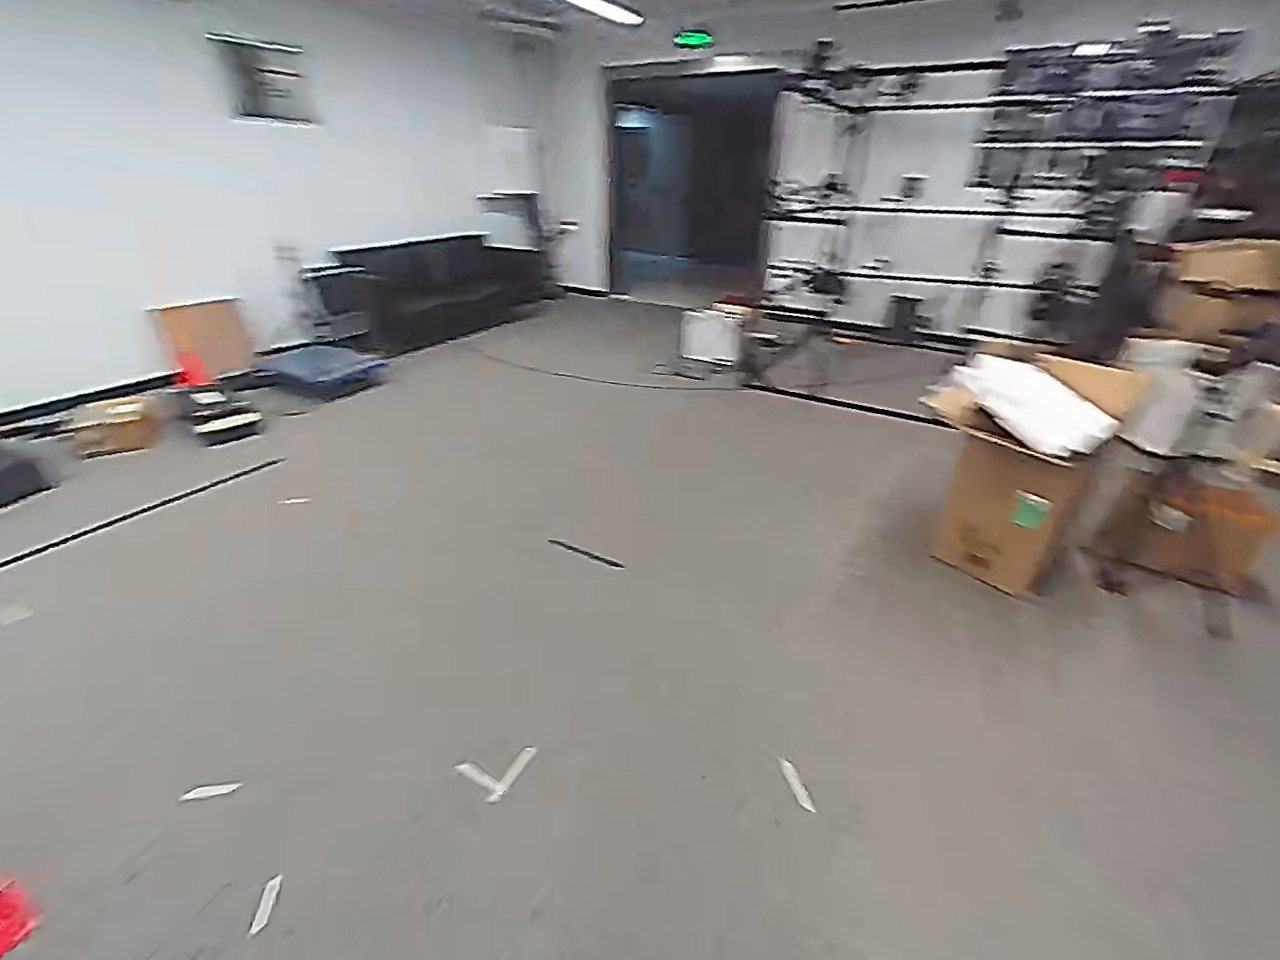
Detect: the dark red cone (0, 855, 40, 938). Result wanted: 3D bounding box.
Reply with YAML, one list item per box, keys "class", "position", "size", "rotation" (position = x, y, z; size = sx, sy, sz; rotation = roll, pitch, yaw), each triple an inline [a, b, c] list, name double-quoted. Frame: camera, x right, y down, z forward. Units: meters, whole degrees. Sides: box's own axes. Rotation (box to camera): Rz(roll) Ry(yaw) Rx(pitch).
- class: "dark red cone"
  position: [-1.440, 0.803, 1.072]
  size: [0.202, 0.394, 0.201]
  rotation: [18, 34, 26]
